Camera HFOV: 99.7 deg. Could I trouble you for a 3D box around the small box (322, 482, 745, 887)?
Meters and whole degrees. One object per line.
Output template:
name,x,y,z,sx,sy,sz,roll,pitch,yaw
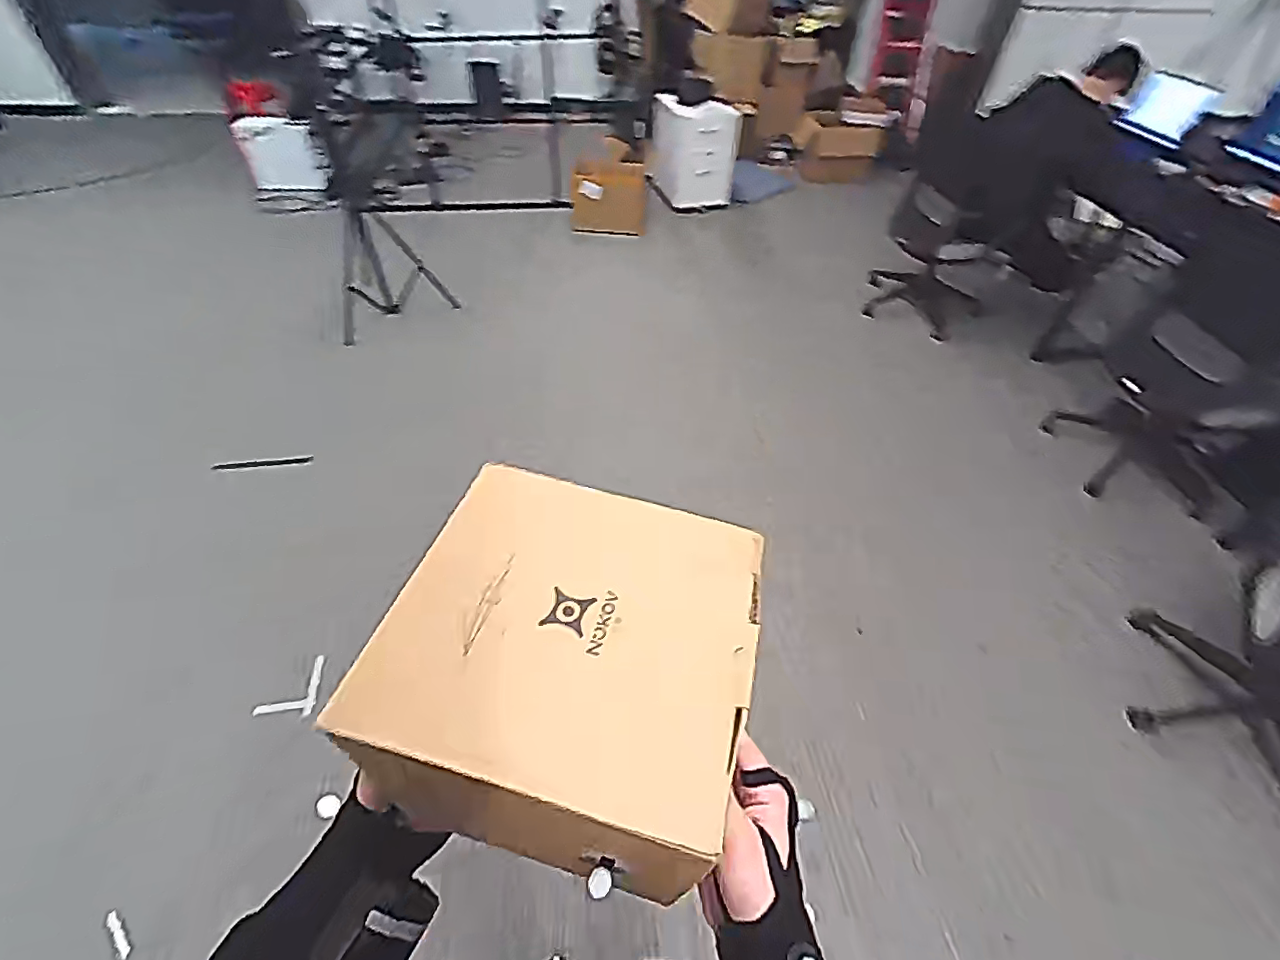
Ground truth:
small box,-0.044,0.130,0.339,0.179,0.176,0.168,11,46,6
